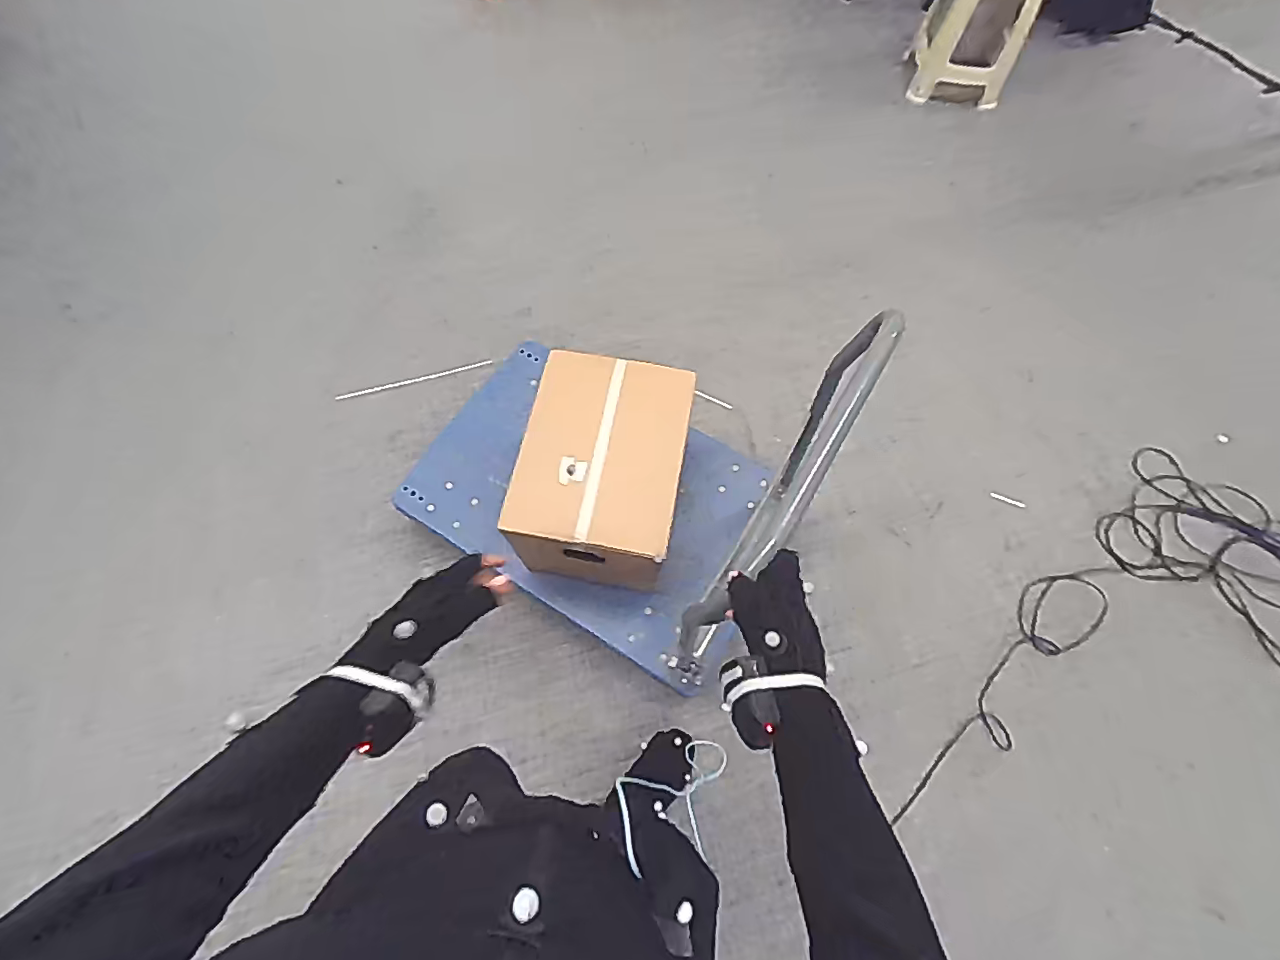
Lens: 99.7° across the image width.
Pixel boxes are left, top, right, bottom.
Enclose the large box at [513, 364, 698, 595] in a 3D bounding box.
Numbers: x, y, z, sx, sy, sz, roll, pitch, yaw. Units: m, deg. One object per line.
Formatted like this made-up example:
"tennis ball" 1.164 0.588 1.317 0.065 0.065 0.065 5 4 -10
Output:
"large box" -0.060 0.010 1.199 0.320 0.320 0.408 9 68 4
